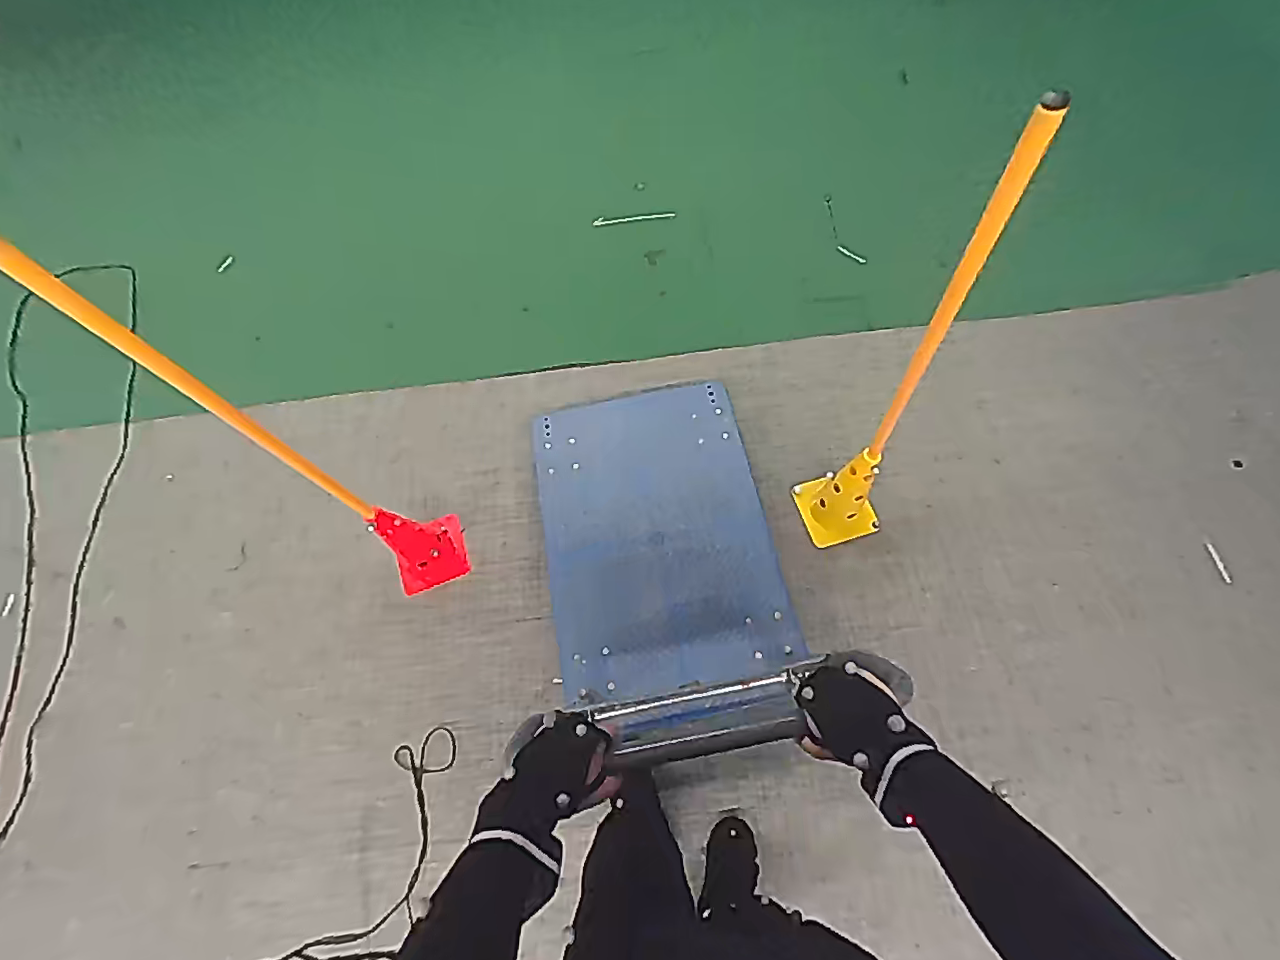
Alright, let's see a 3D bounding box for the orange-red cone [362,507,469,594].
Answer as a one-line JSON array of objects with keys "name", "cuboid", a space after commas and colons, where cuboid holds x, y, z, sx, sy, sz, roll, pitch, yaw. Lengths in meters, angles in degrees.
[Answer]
[{"name": "orange-red cone", "cuboid": [-0.623, 0.151, 1.426, 0.199, 0.360, 0.198, -20, 66, -3]}]
